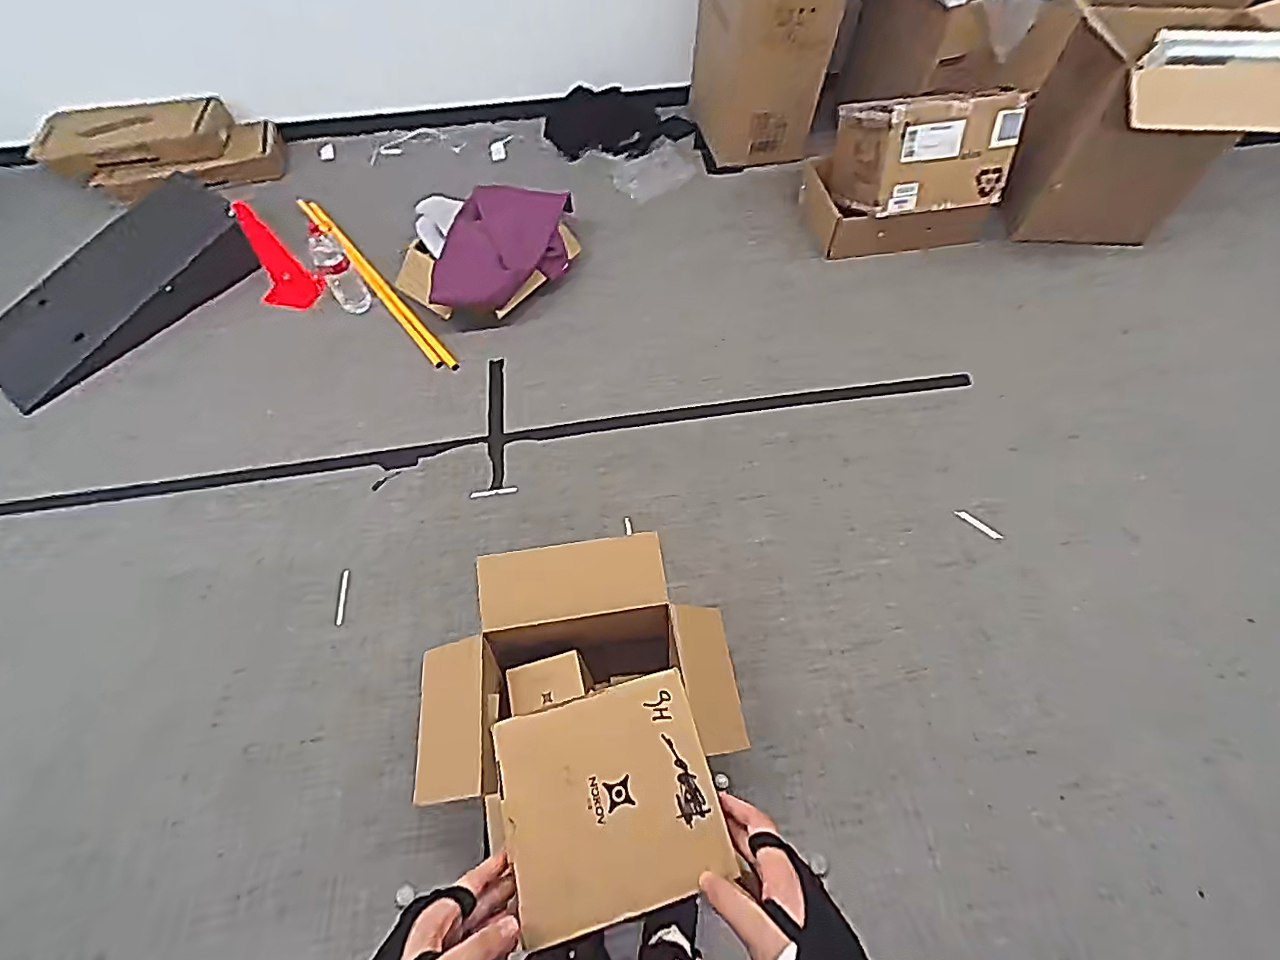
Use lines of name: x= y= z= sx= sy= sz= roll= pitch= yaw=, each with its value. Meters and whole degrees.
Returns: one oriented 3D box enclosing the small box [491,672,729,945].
small box: x=-0.027 y=0.306 z=0.526 sx=0.179 sy=0.176 sz=0.168 roll=-15 pitch=62 yaw=-5
